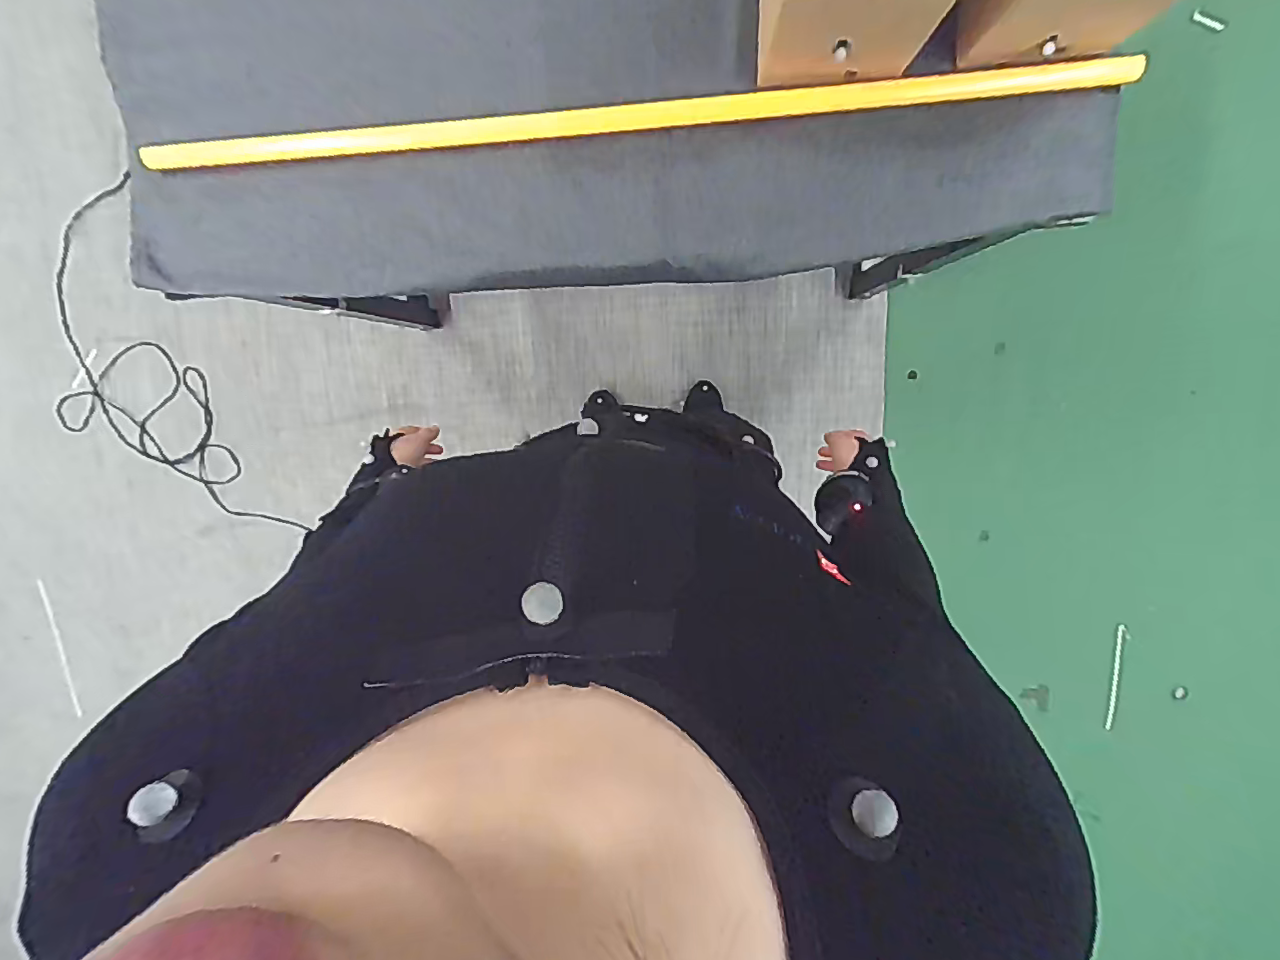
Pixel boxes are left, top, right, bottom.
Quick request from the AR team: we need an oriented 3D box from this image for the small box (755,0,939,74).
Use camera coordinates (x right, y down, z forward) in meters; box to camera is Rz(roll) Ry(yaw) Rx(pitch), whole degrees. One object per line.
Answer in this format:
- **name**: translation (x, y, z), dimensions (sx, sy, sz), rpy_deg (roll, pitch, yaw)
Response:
- **small box**: translation (0.212, -0.542, 0.544), dimensions (0.168, 0.176, 0.179), rpy_deg (0, 101, 3)
